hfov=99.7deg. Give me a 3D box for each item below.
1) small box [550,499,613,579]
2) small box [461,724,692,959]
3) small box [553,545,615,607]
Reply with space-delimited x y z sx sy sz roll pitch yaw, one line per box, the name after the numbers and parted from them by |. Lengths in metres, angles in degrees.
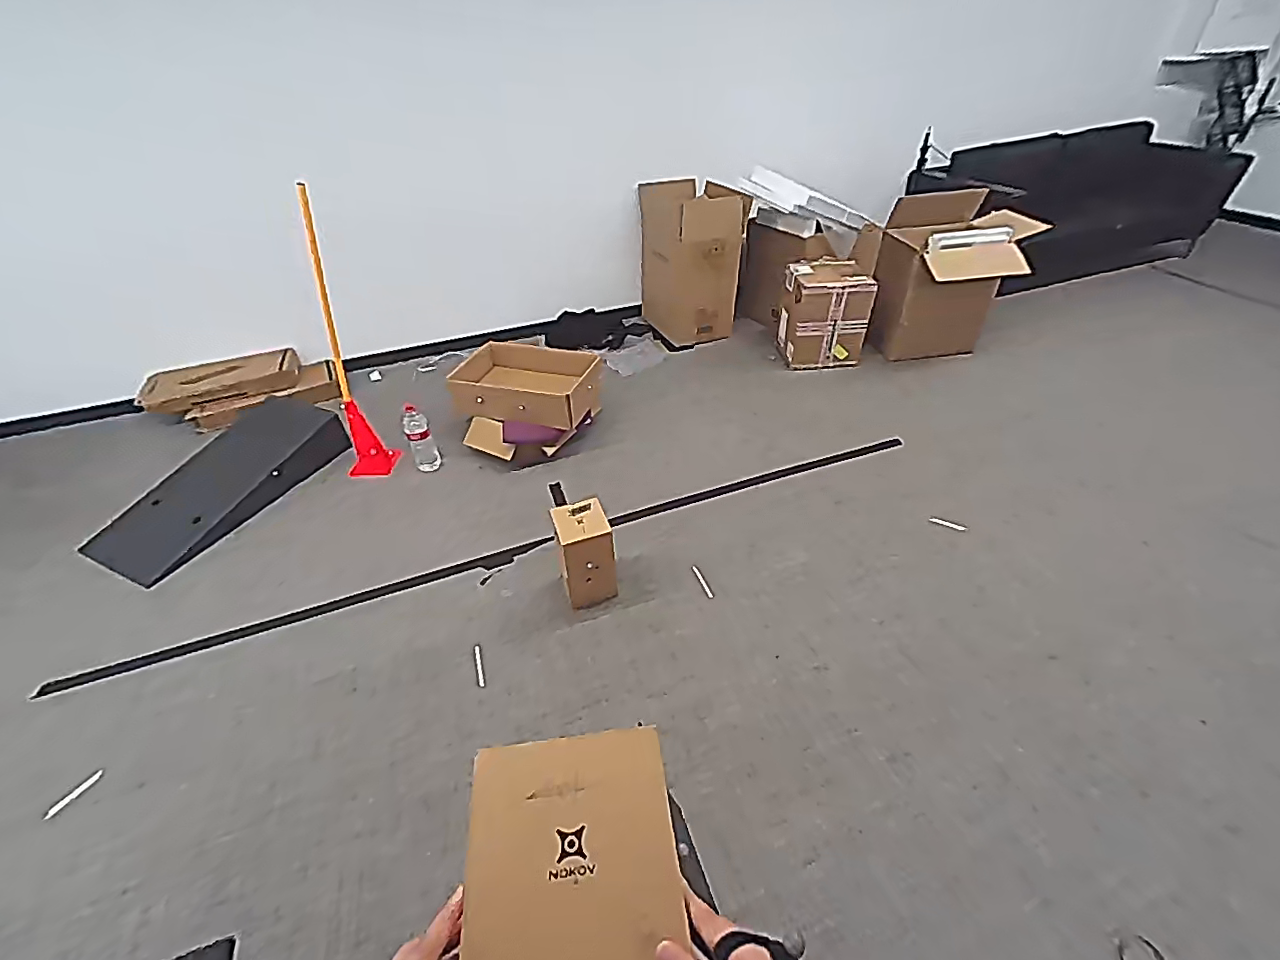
-0.194 0.195 1.789 0.168 0.176 0.179 -14 42 -14 | small box
-0.053 0.349 0.484 0.168 0.176 0.179 -5 43 -7 | small box
-0.193 0.319 1.898 0.179 0.176 0.168 -14 42 -14 | small box
